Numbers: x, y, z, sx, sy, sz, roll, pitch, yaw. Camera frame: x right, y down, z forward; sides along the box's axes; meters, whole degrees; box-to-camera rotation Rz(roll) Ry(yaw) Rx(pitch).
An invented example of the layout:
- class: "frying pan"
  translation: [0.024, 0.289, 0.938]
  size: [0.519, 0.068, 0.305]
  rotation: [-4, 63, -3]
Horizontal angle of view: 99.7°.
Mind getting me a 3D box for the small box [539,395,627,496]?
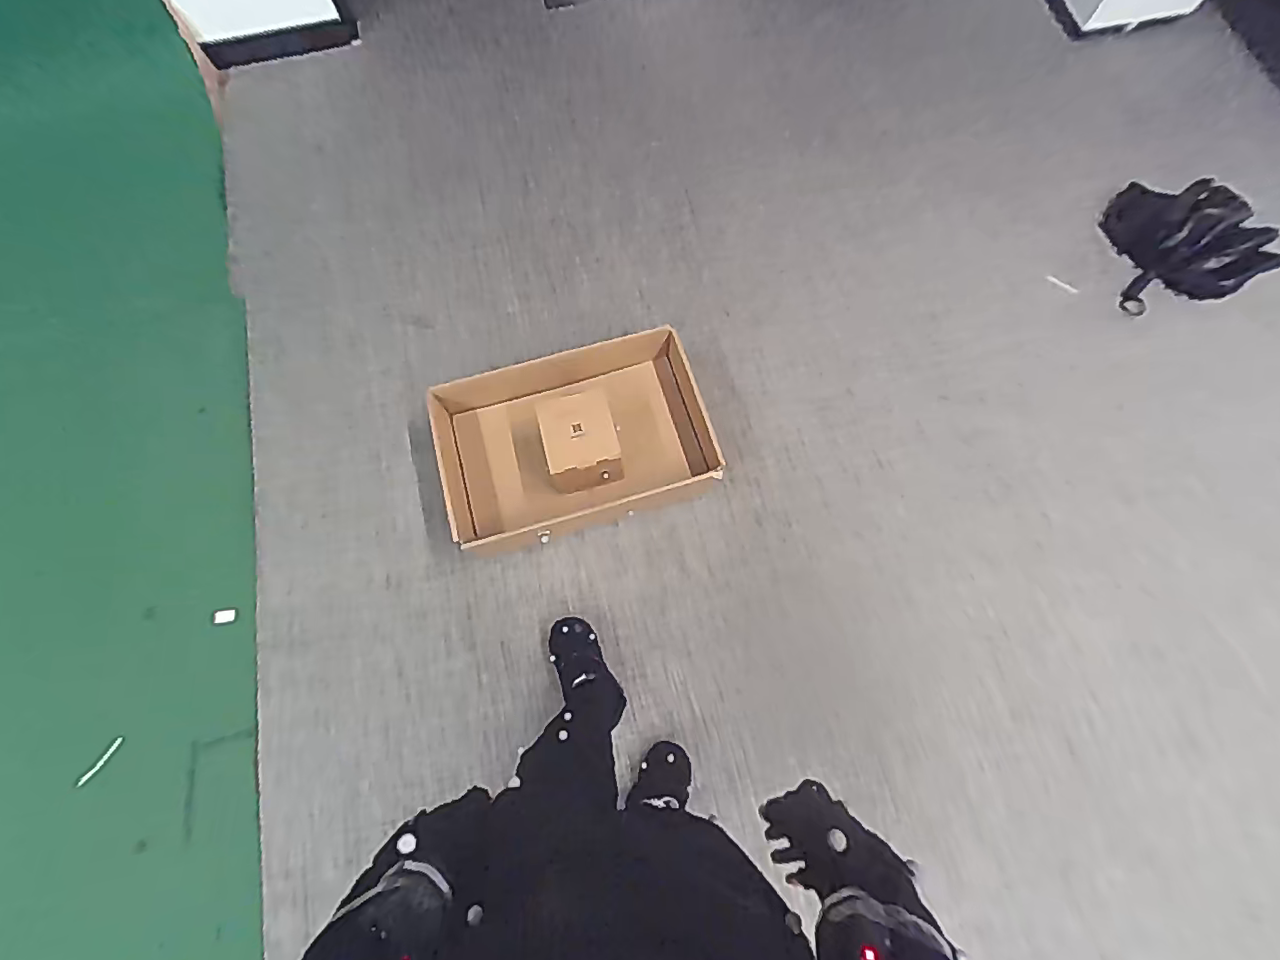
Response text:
- class: "small box"
  translation: [-0.130, -0.072, 1.288]
  size: [0.168, 0.176, 0.179]
  rotation: [-14, 71, -4]
